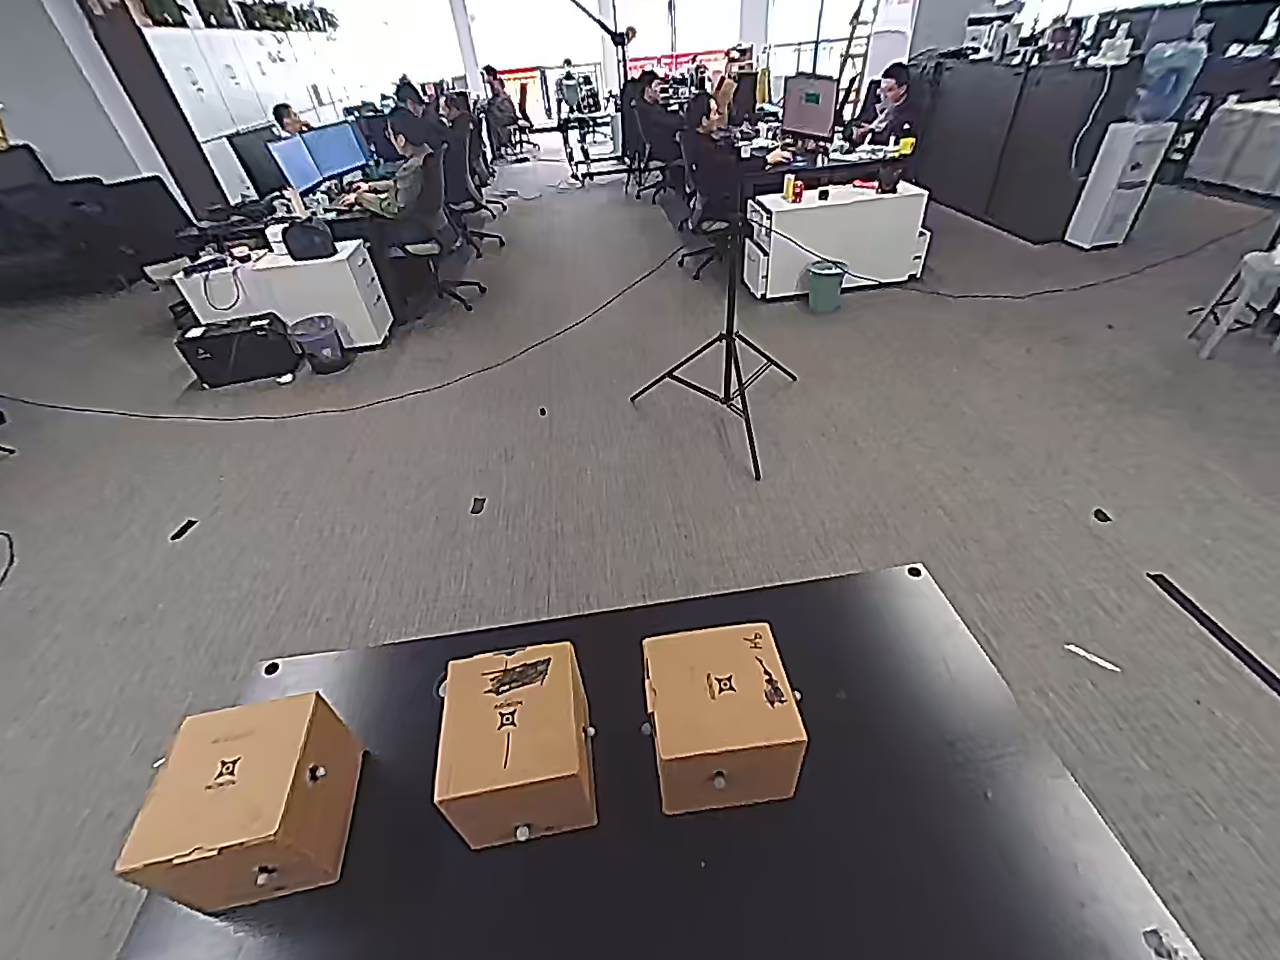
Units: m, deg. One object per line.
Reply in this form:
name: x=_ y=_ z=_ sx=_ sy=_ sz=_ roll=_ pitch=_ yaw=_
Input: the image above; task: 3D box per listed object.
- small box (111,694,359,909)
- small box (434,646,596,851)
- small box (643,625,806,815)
small box: x=-0.480 y=0.406 z=0.680 sx=0.168 sy=0.176 sz=0.179 roll=-9 pitch=39 yaw=-7
small box: x=-0.153 y=0.350 z=0.711 sx=0.168 sy=0.176 sz=0.179 roll=-9 pitch=40 yaw=-4
small box: x=0.105 y=0.321 z=0.720 sx=0.179 sy=0.176 sz=0.168 roll=-8 pitch=39 yaw=-1
